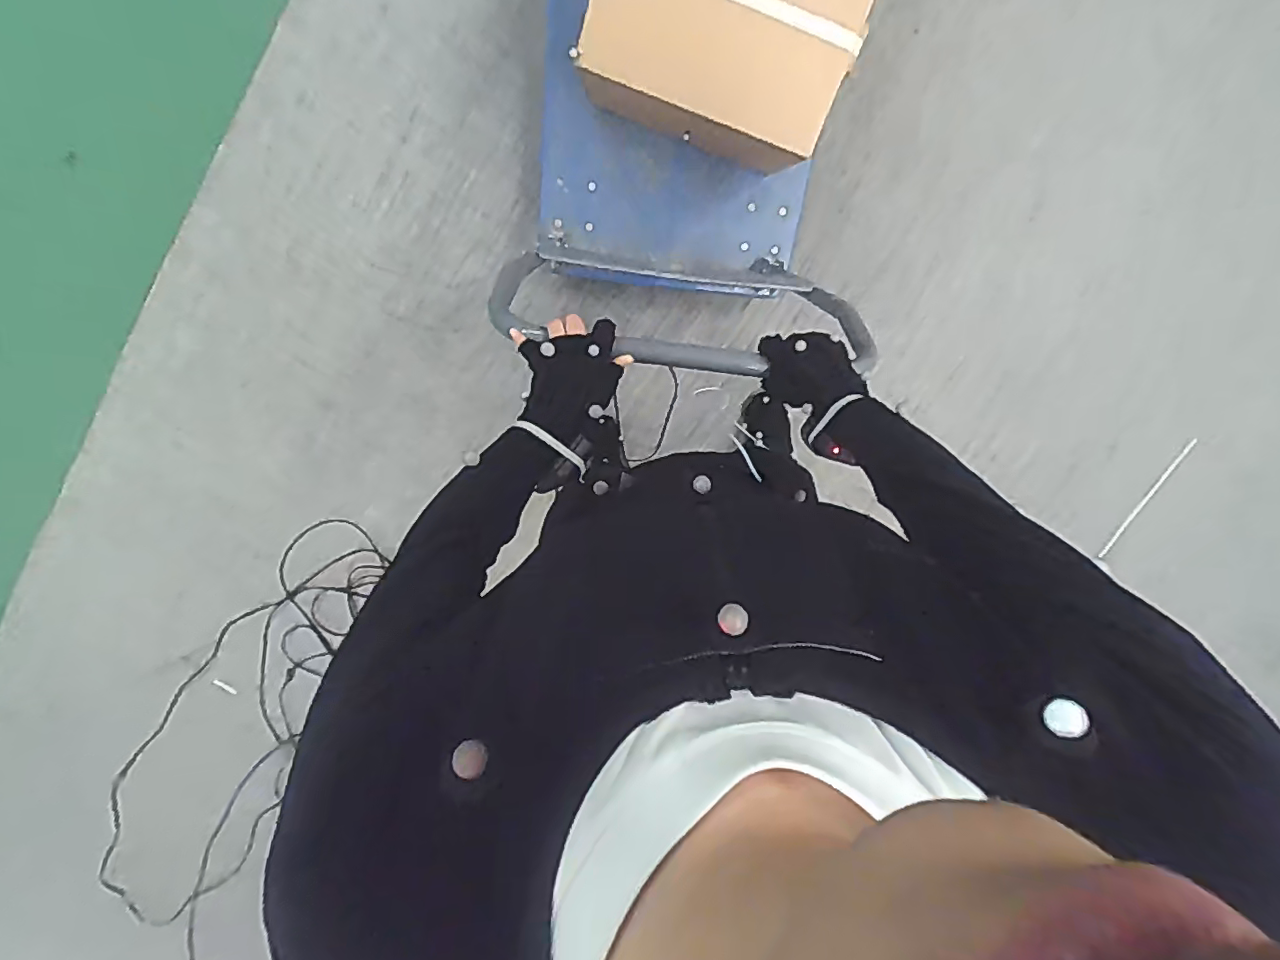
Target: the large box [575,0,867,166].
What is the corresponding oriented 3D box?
[{"bbox_3d":[0.137,-0.784,0.936,0.408,0.320,0.320,17,114,-7],"label":"large box"}]
